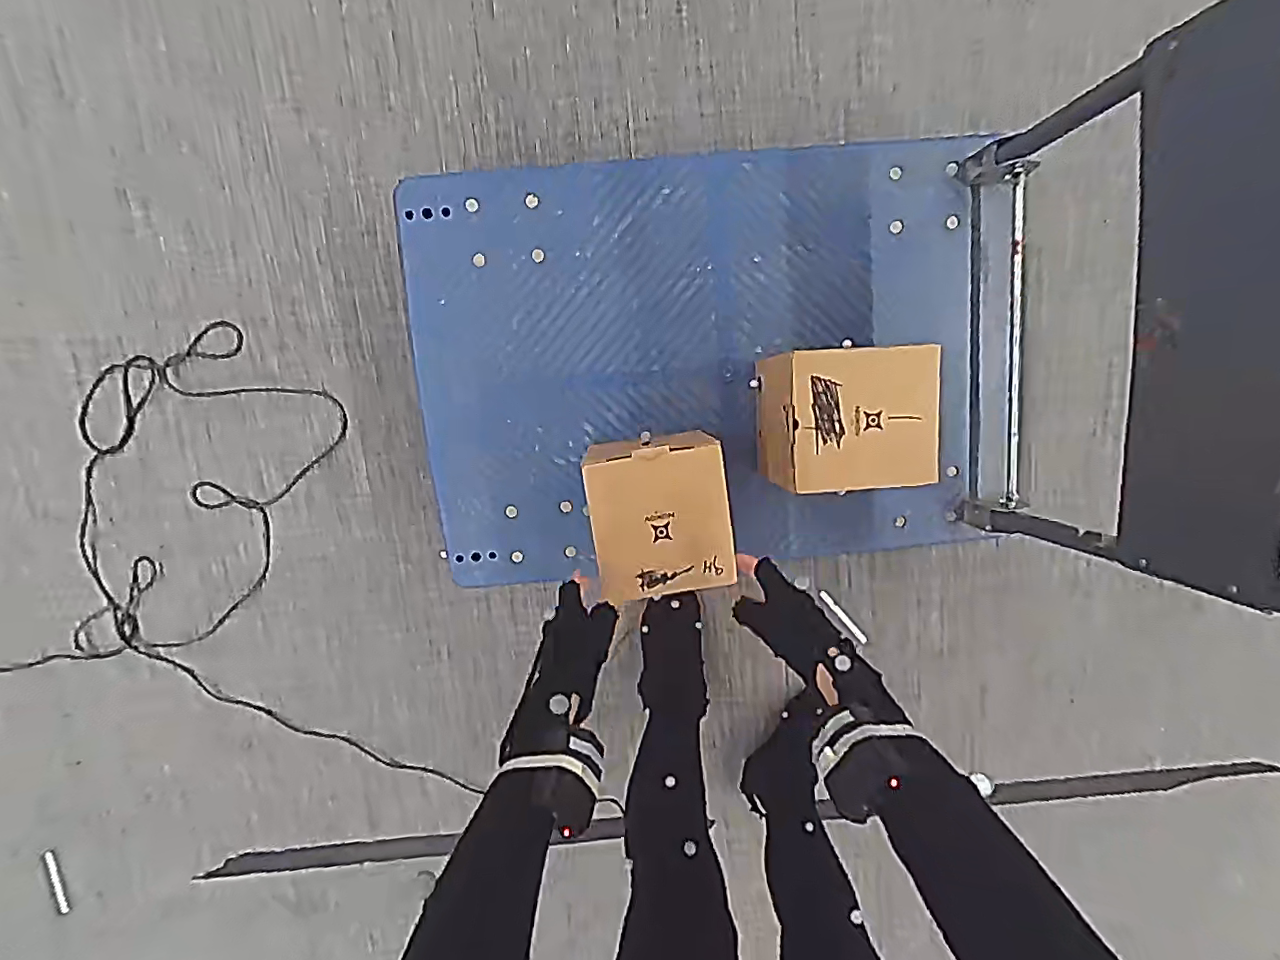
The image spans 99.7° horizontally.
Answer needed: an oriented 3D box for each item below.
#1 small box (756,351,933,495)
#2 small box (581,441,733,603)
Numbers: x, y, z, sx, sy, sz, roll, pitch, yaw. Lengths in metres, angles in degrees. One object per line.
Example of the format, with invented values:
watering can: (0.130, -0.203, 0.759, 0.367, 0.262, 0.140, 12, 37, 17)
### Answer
small box: (0.254, -0.075, 0.712, 0.179, 0.176, 0.168, -3, 98, -2)
small box: (0.018, 0.043, 0.721, 0.168, 0.176, 0.179, -9, 98, -1)
